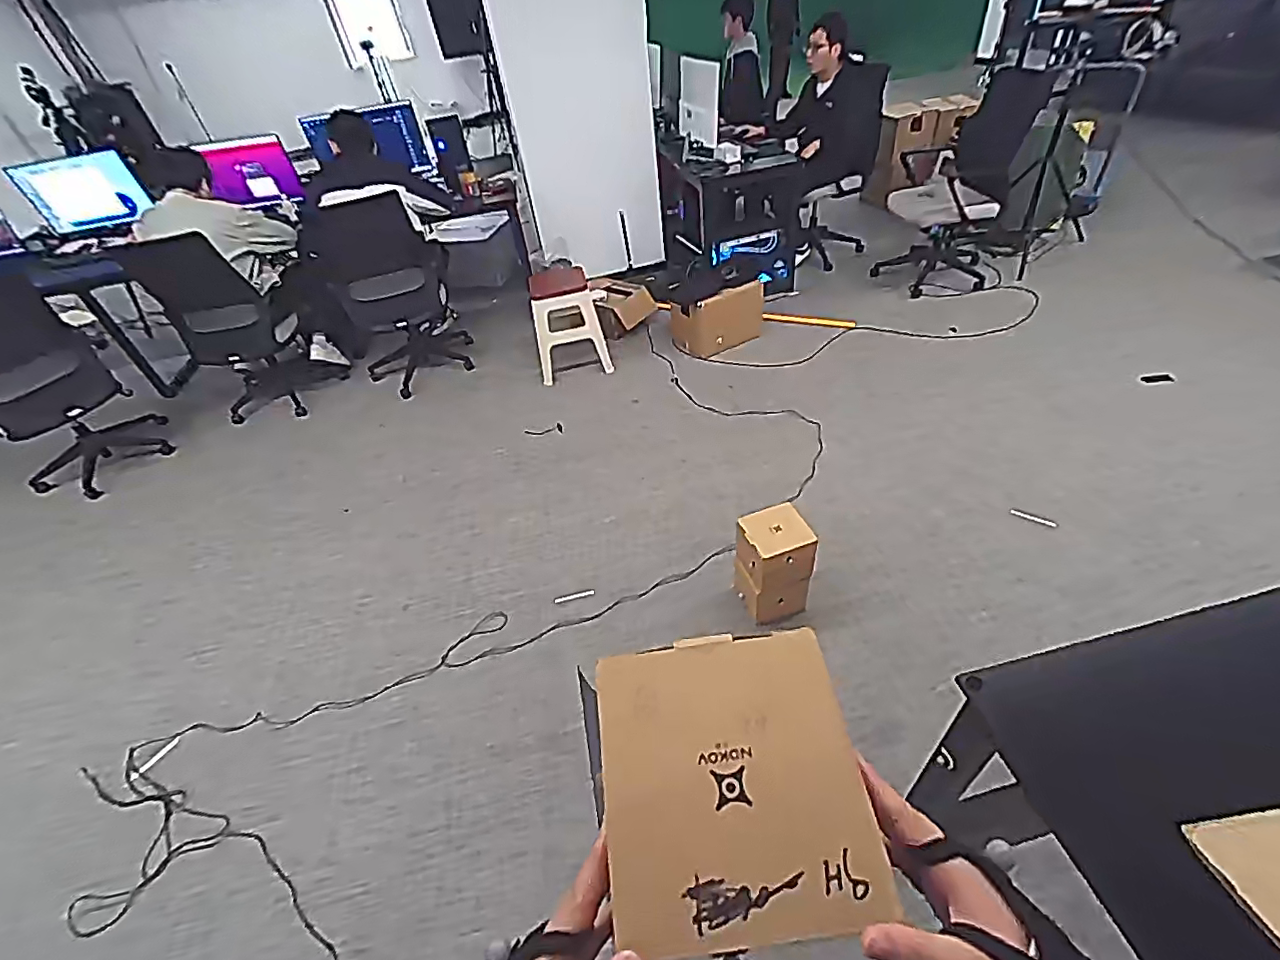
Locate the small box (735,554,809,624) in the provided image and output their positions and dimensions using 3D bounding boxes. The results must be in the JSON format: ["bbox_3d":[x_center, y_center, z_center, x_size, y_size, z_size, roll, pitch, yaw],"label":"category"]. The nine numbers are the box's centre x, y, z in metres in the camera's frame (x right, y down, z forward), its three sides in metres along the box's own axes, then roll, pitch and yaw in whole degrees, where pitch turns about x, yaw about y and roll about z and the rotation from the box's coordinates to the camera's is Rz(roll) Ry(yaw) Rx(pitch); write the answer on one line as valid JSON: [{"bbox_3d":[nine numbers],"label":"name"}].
[{"bbox_3d":[0.411,0.327,1.712,0.179,0.176,0.168,-16,42,-7],"label":"small box"}]

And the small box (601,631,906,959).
[{"bbox_3d":[0.065,0.238,0.414,0.168,0.176,0.179,-8,53,0],"label":"small box"}]

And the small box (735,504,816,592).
[{"bbox_3d":[0.397,0.205,1.605,0.179,0.176,0.168,-17,43,-10],"label":"small box"}]
